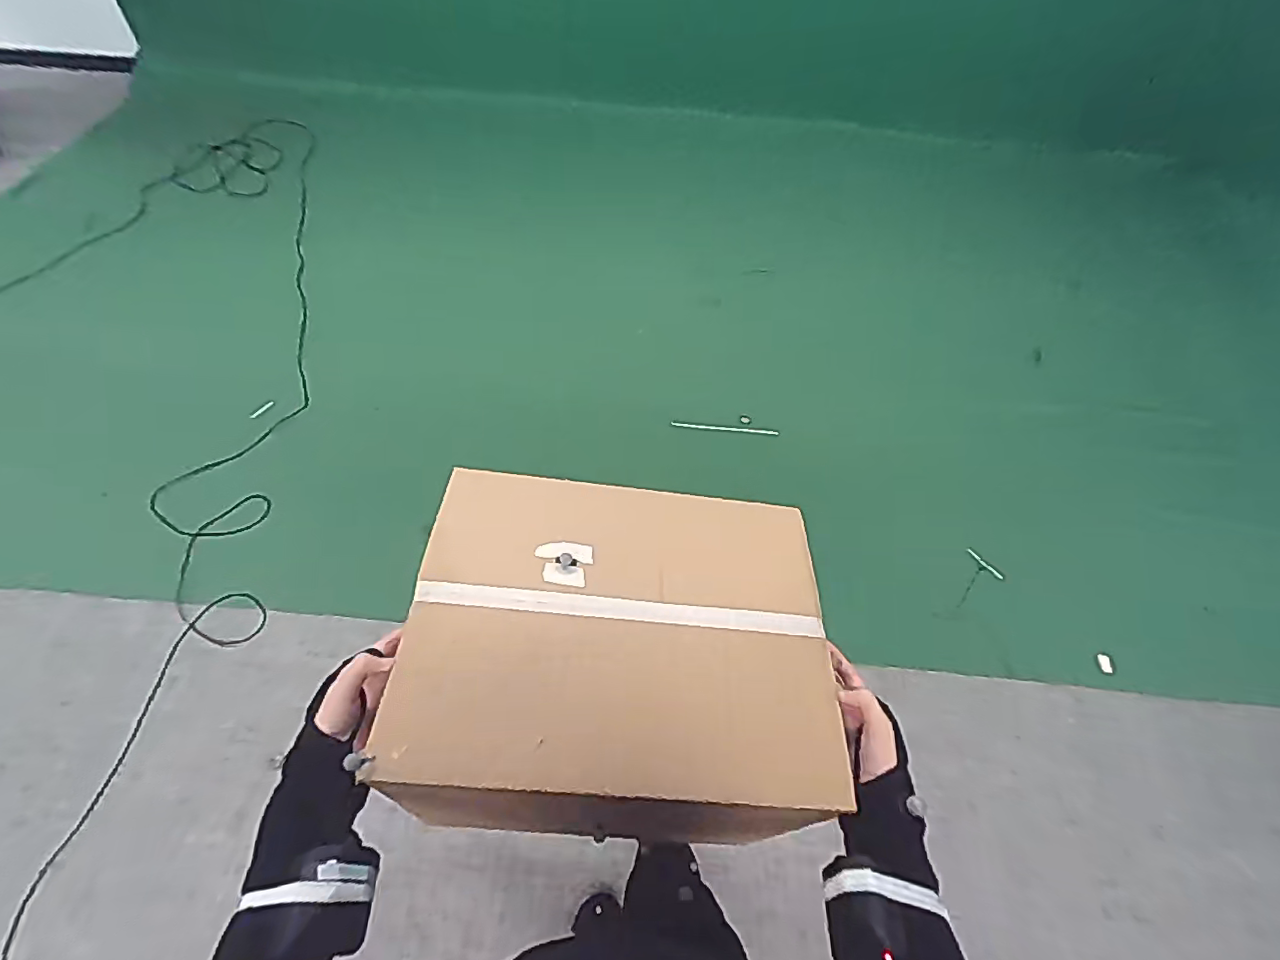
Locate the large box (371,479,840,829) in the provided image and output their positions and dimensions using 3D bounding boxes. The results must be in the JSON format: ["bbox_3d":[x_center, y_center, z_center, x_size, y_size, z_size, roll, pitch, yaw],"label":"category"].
[{"bbox_3d":[-0.036,0.227,0.659,0.408,0.320,0.320,6,51,-5],"label":"large box"}]
